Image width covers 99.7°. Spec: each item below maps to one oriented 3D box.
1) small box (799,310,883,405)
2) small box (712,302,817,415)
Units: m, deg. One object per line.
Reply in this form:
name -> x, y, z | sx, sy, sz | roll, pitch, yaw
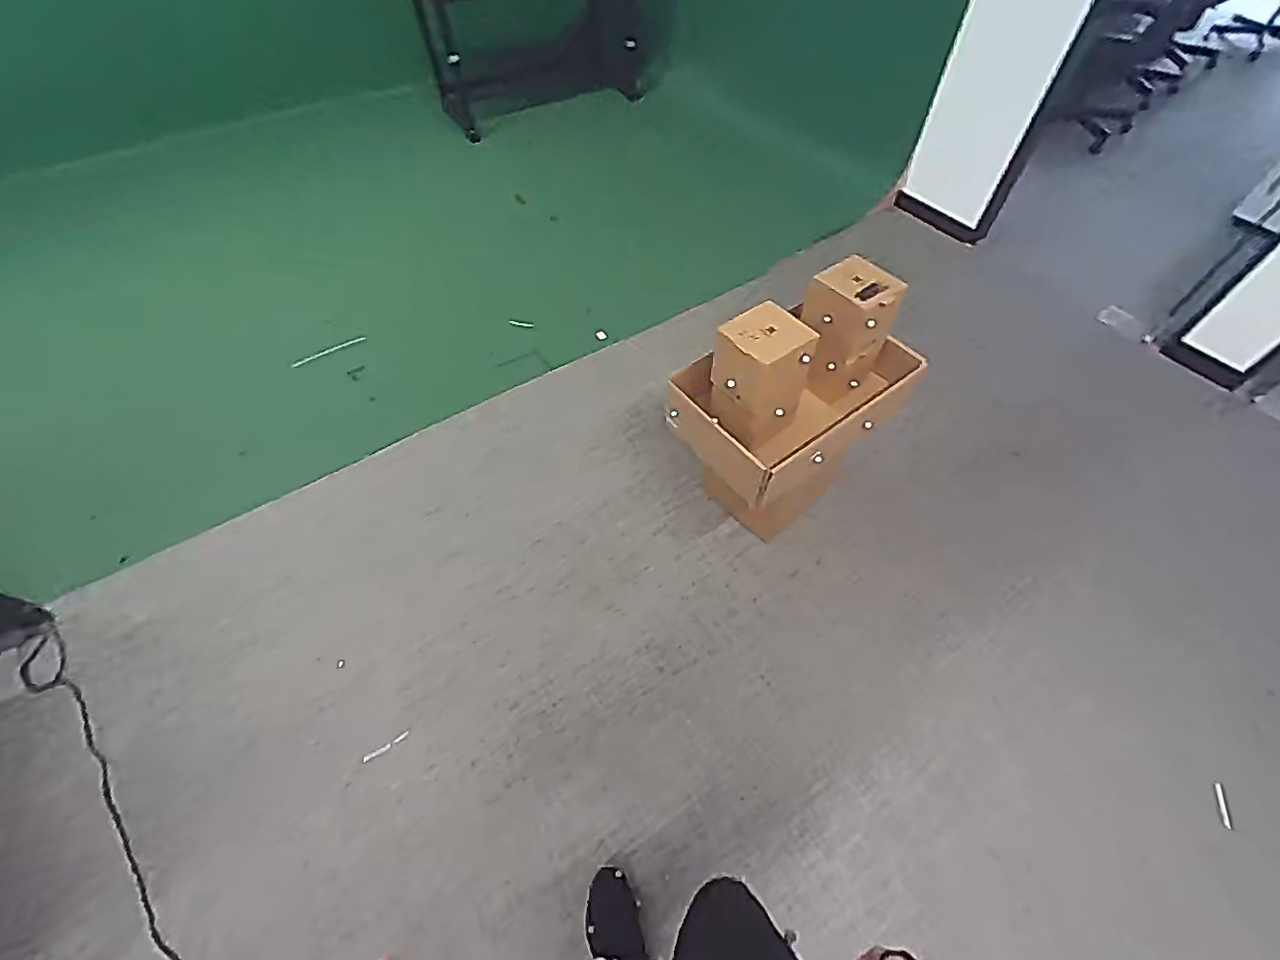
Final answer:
small box -> 0.550, -0.350, 1.556 | 0.168, 0.176, 0.179 | -35, 63, -22
small box -> 0.293, -0.292, 1.314 | 0.179, 0.176, 0.168 | -32, 60, -19
